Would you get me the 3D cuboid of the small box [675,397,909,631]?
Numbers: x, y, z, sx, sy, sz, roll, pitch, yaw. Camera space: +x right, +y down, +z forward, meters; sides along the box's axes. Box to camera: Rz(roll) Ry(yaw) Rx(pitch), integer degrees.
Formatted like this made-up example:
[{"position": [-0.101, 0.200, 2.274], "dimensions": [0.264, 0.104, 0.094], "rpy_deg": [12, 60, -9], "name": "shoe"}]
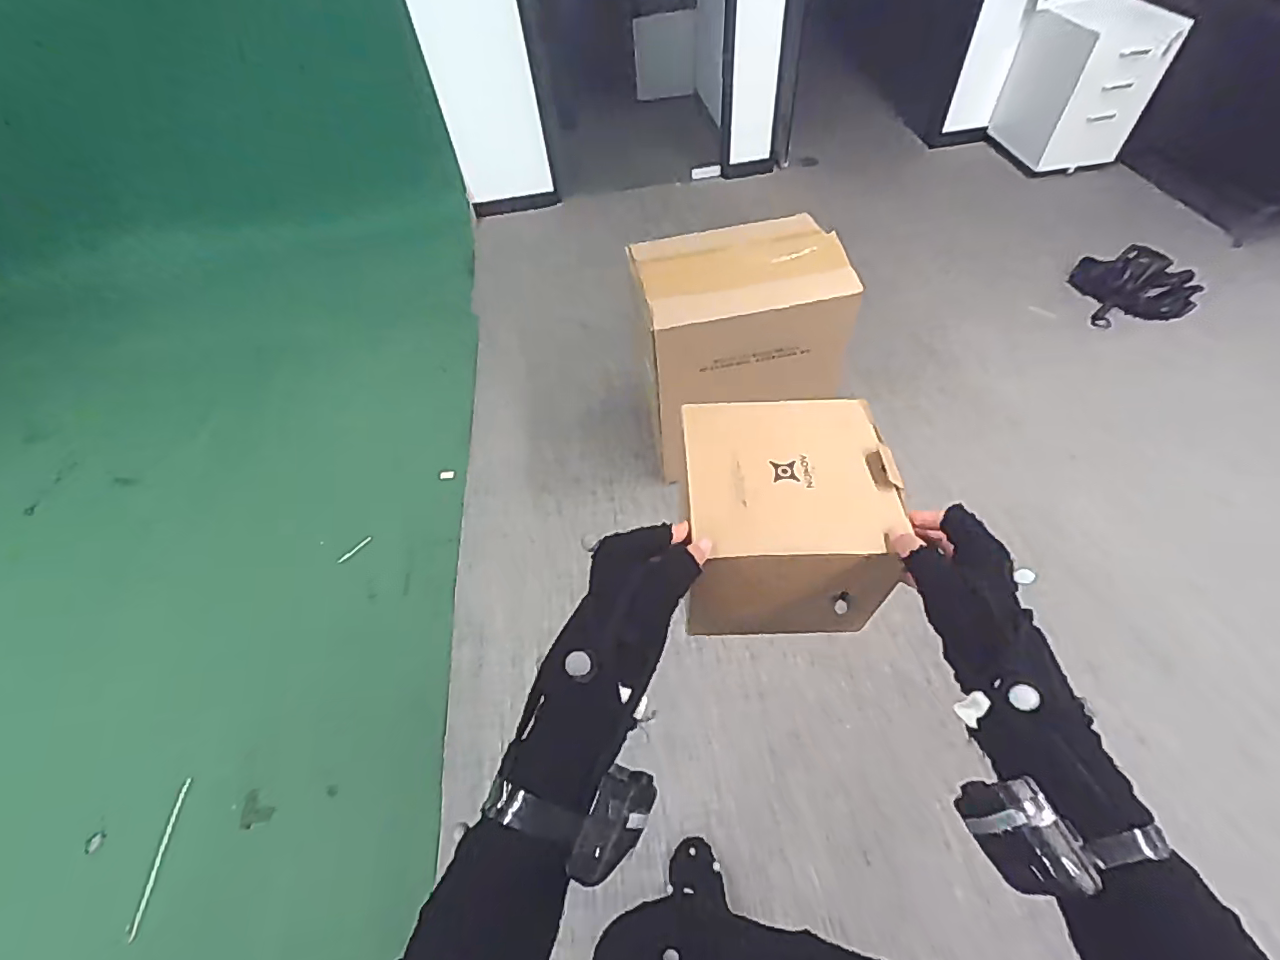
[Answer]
[{"position": [0.126, 0.038, 0.532], "dimensions": [0.179, 0.176, 0.168], "rpy_deg": [-3, 52, 2], "name": "small box"}]
